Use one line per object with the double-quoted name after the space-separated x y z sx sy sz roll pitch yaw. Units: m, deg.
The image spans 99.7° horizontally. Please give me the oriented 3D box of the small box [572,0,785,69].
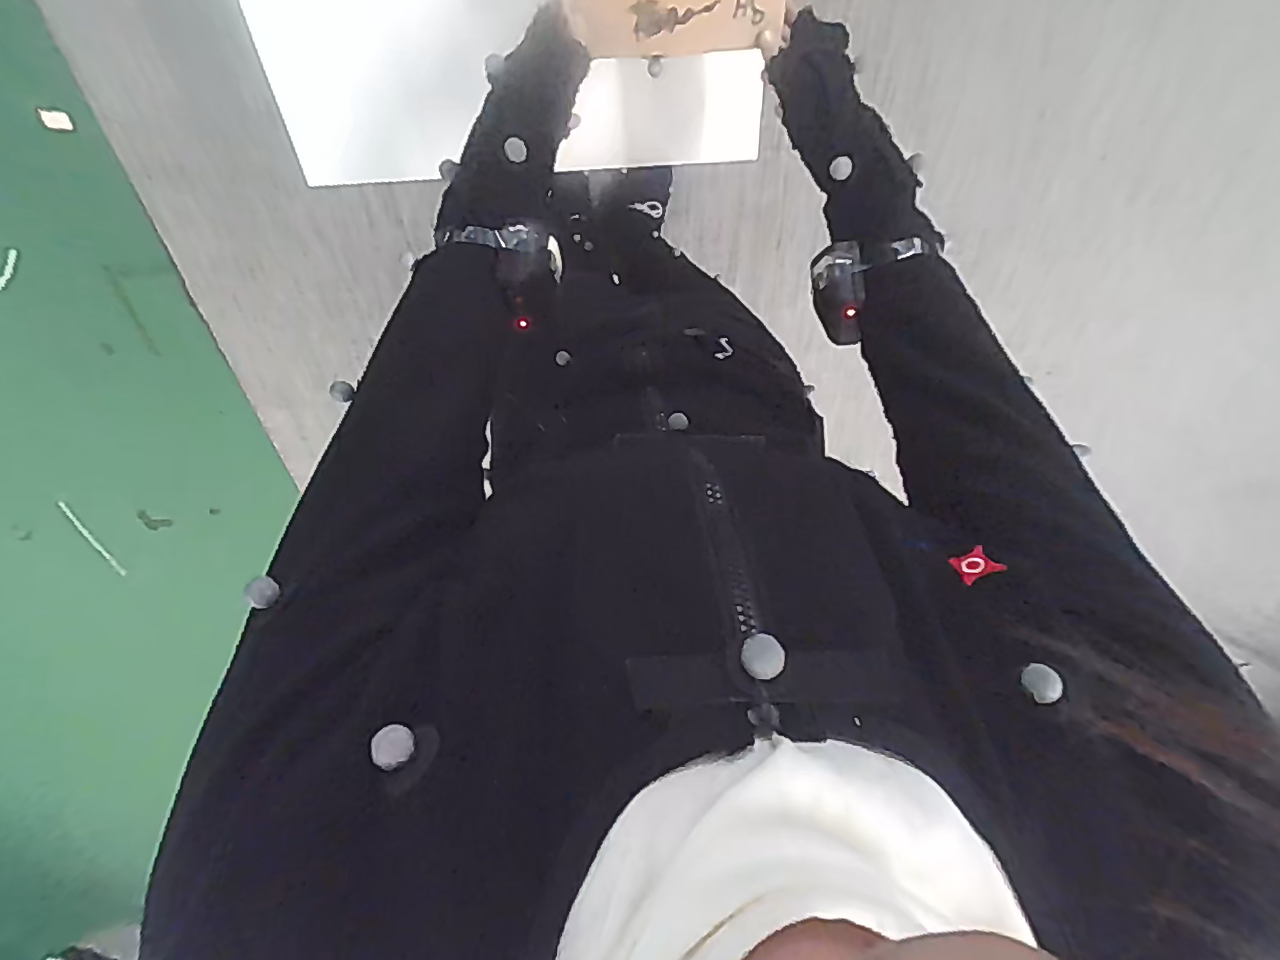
0.023 -0.451 0.443 0.168 0.176 0.179 -4 128 0 "small box"
